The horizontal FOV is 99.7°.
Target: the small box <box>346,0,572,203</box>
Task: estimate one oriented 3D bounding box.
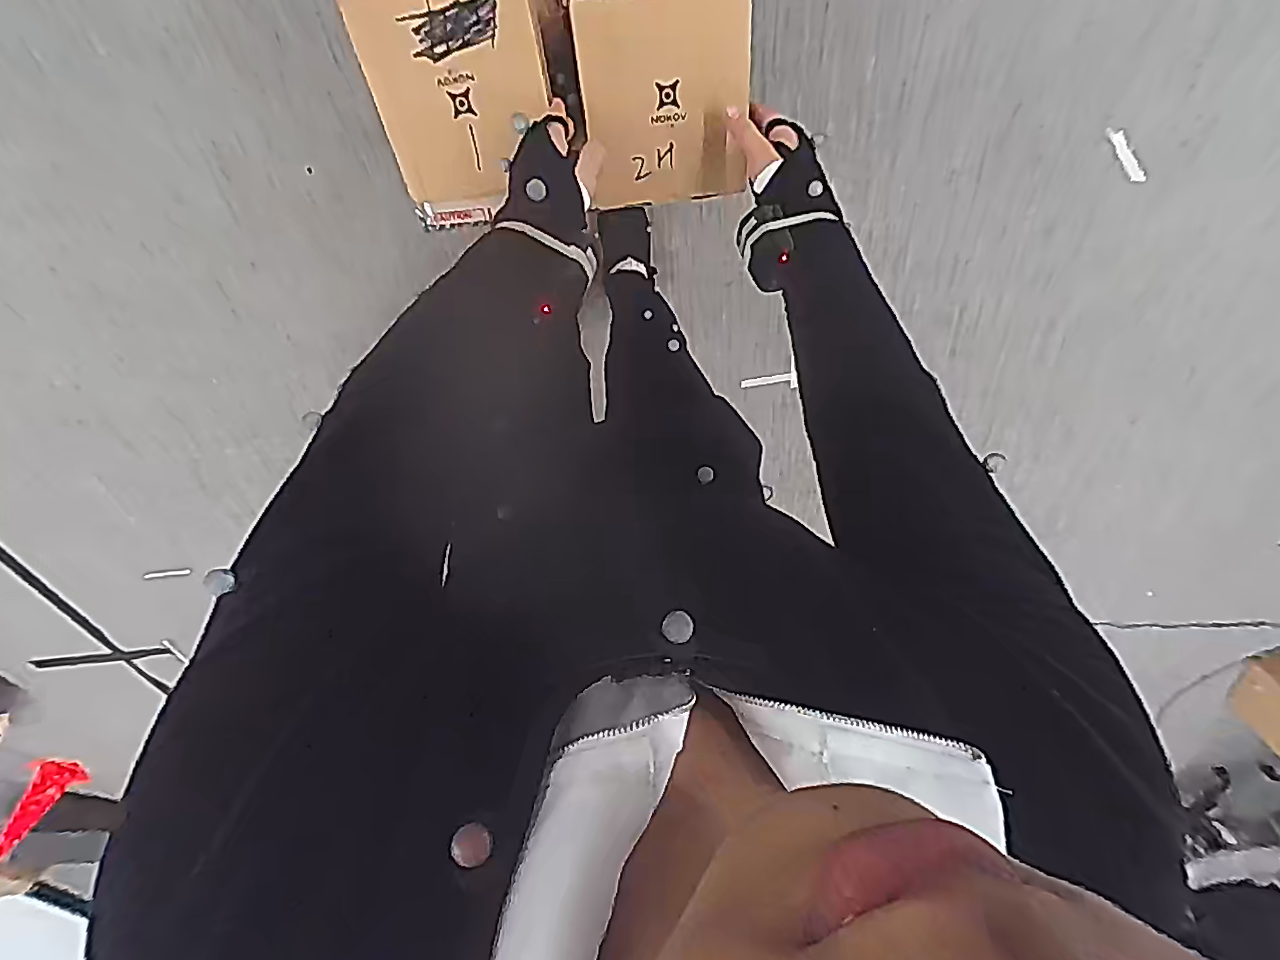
[{"bbox_3d":[-0.170,-0.421,0.575,0.168,0.176,0.179,-8,132,3],"label":"small box"}]

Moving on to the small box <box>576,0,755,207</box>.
[{"bbox_3d":[0.023,-0.422,0.592,0.168,0.176,0.179,-7,131,0],"label":"small box"}]
